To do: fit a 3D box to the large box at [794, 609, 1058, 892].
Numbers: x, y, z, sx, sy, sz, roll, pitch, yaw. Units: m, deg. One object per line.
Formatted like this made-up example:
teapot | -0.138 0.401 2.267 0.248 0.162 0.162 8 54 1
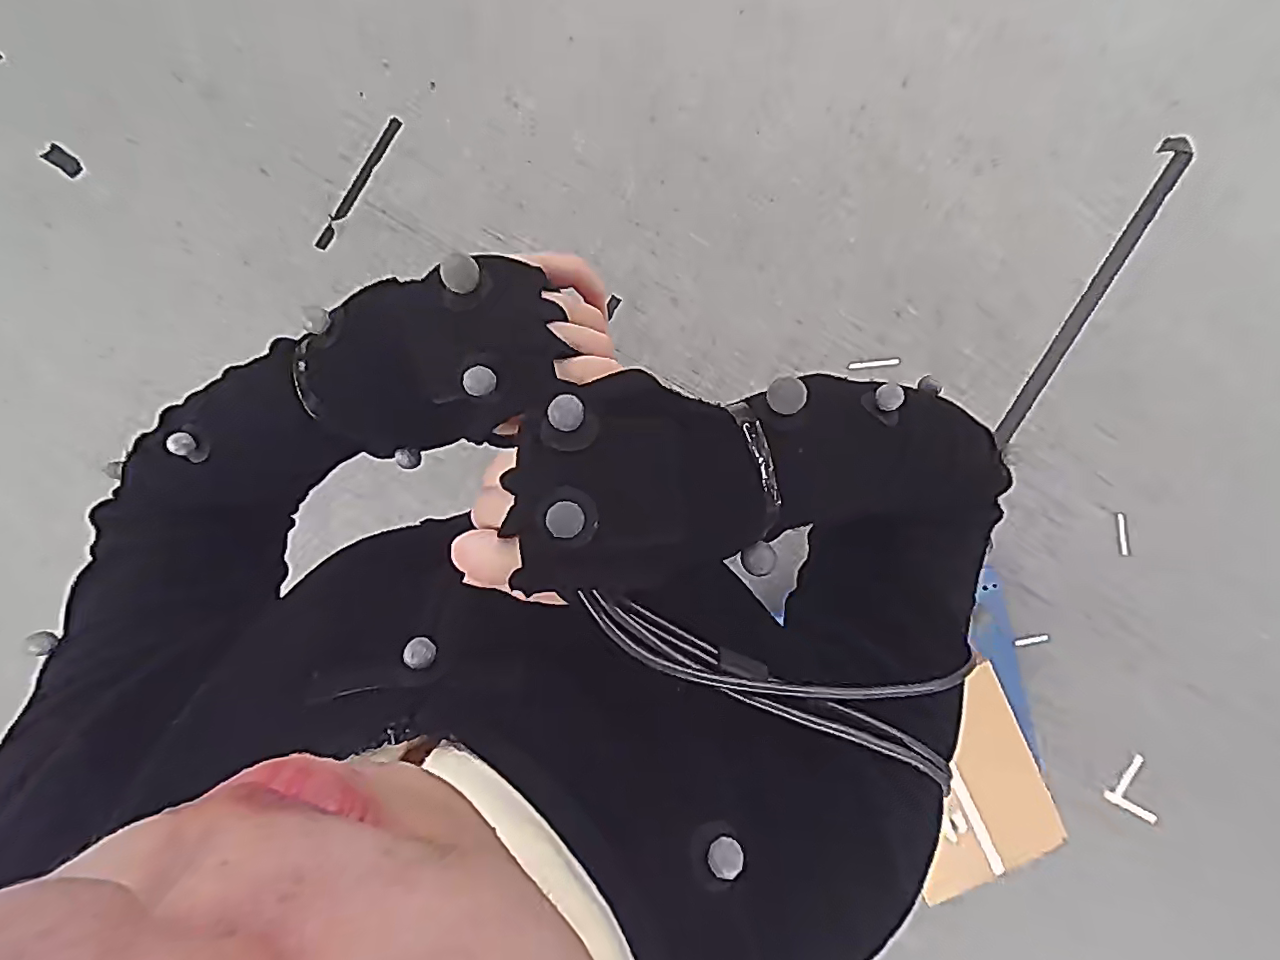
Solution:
large box | 0.603 0.566 1.205 0.320 0.320 0.408 -25 94 1
